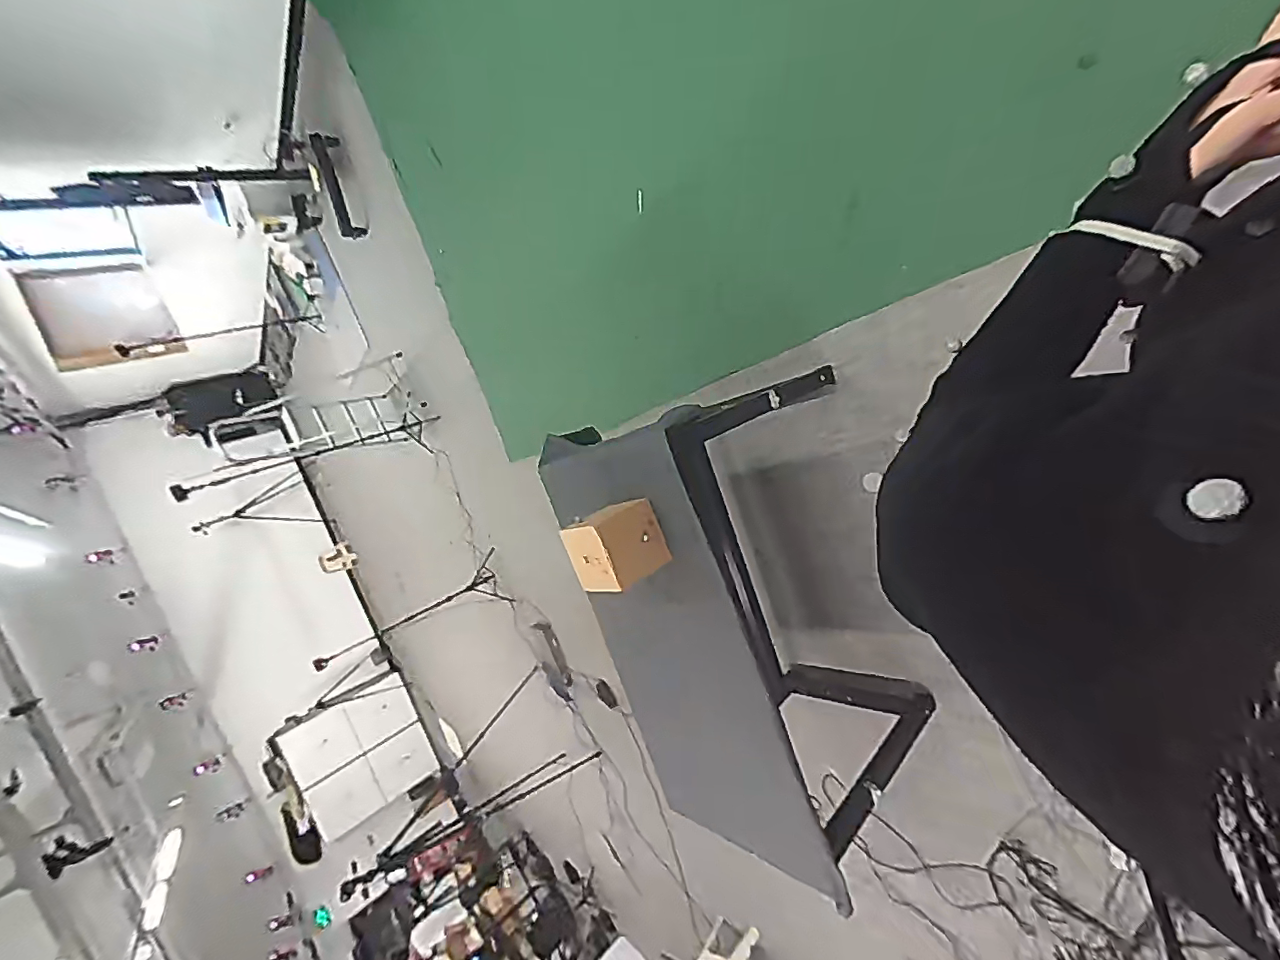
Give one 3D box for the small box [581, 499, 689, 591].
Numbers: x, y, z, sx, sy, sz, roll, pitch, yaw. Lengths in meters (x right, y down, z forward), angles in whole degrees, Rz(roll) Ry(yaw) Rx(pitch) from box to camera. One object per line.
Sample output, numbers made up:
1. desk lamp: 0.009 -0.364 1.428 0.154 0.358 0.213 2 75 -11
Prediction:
1. small box: -0.012 0.159 1.328 0.179 0.176 0.168 -16 98 55
